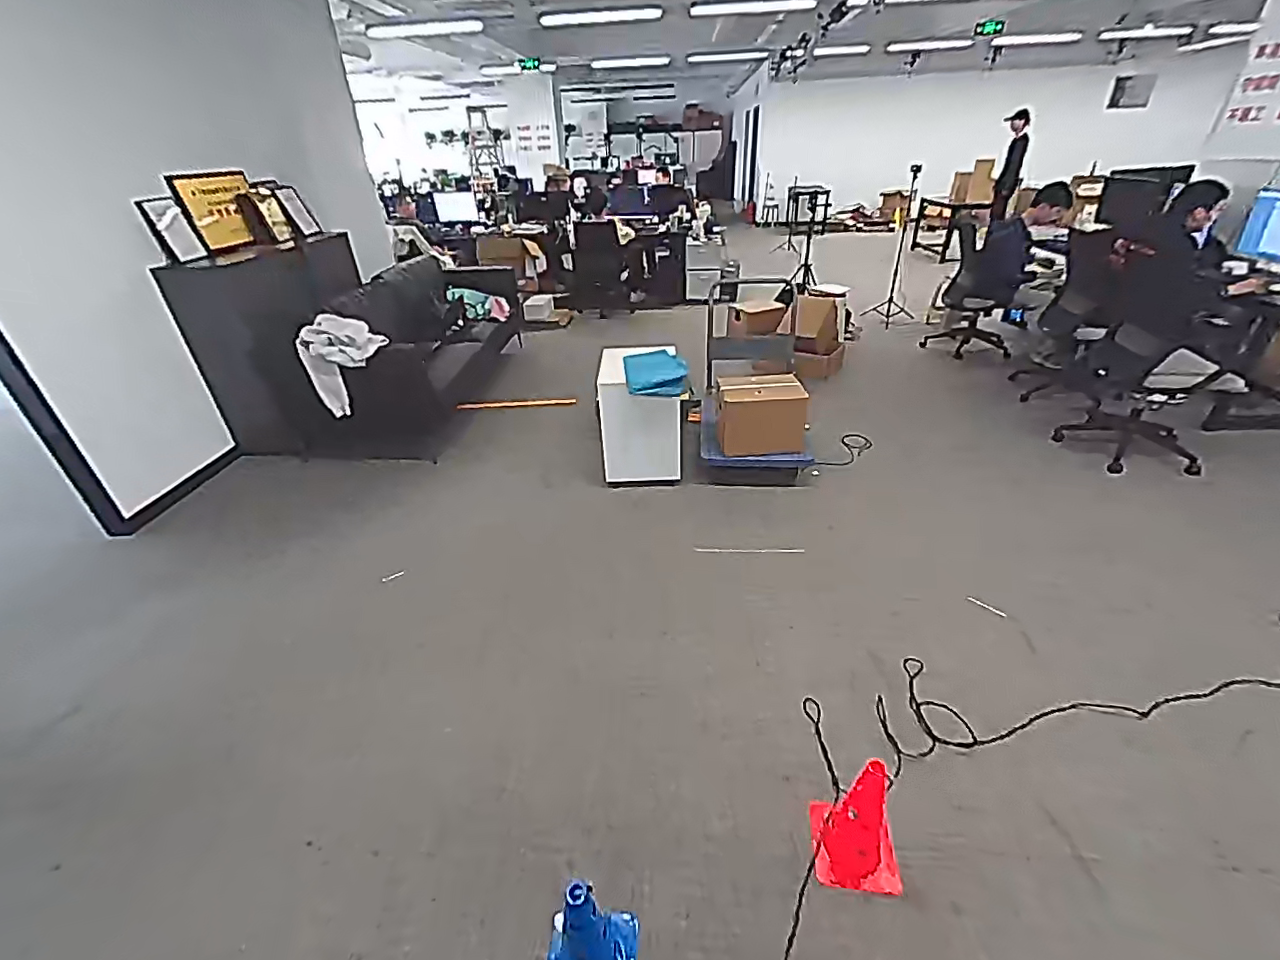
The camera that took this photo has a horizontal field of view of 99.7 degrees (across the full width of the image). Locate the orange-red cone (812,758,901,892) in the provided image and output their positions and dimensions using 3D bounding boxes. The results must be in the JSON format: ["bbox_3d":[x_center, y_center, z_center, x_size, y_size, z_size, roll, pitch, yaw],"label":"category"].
[{"bbox_3d":[0.536,0.782,1.287,0.198,0.360,0.199,2,33,10],"label":"orange-red cone"}]
